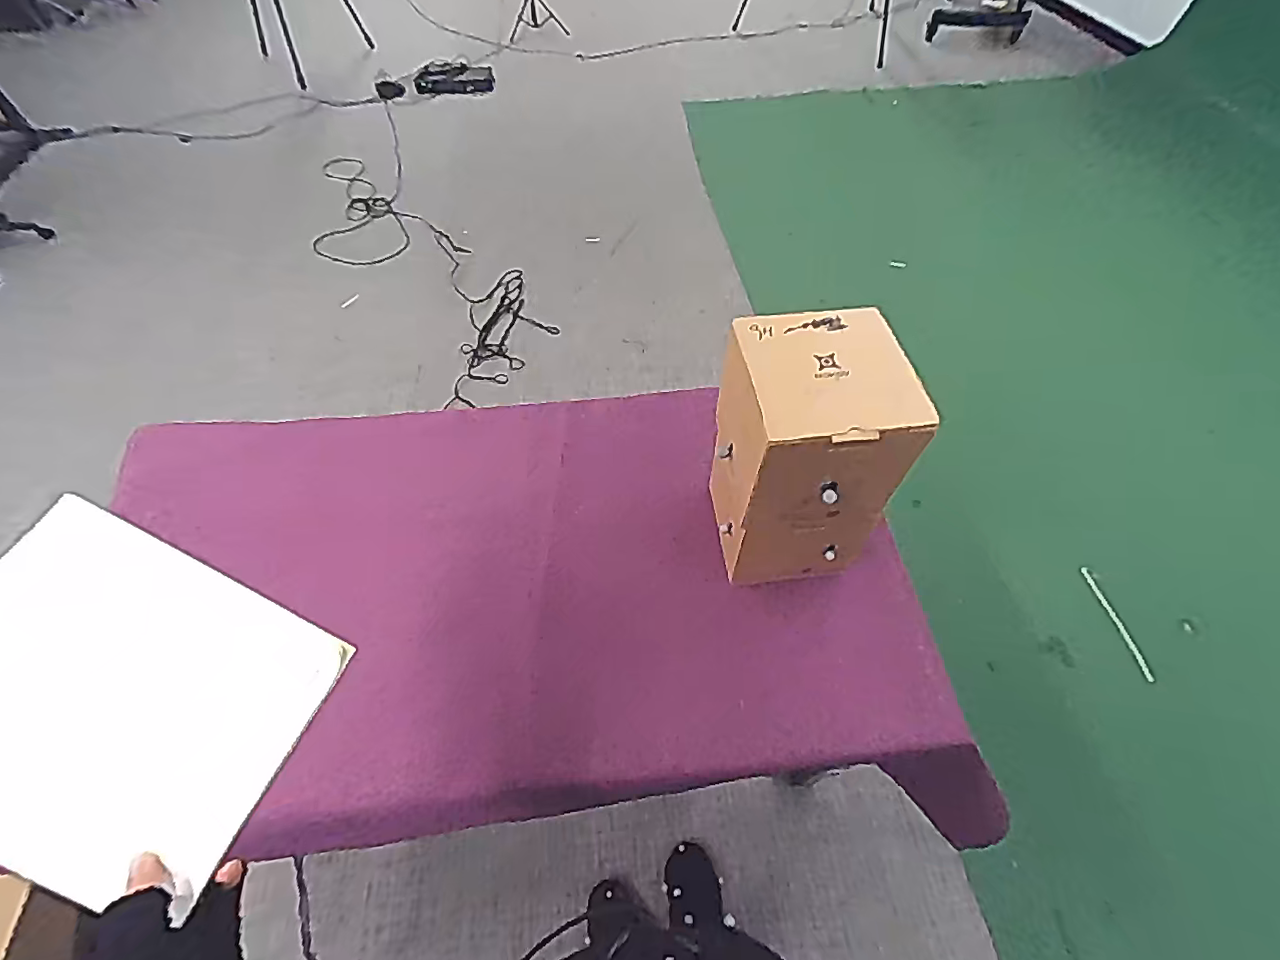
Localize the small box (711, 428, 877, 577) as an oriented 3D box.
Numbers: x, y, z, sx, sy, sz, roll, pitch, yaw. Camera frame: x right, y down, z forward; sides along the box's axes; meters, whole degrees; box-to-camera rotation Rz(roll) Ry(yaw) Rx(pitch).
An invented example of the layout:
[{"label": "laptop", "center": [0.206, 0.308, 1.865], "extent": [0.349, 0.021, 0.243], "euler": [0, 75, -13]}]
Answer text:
[{"label": "small box", "center": [0.197, 0.025, 0.750], "extent": [0.168, 0.176, 0.179], "euler": [-5, 55, -2]}]

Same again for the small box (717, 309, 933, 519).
[{"label": "small box", "center": [0.189, -0.066, 0.614], "extent": [0.168, 0.176, 0.179], "euler": [-5, 57, -3]}]
